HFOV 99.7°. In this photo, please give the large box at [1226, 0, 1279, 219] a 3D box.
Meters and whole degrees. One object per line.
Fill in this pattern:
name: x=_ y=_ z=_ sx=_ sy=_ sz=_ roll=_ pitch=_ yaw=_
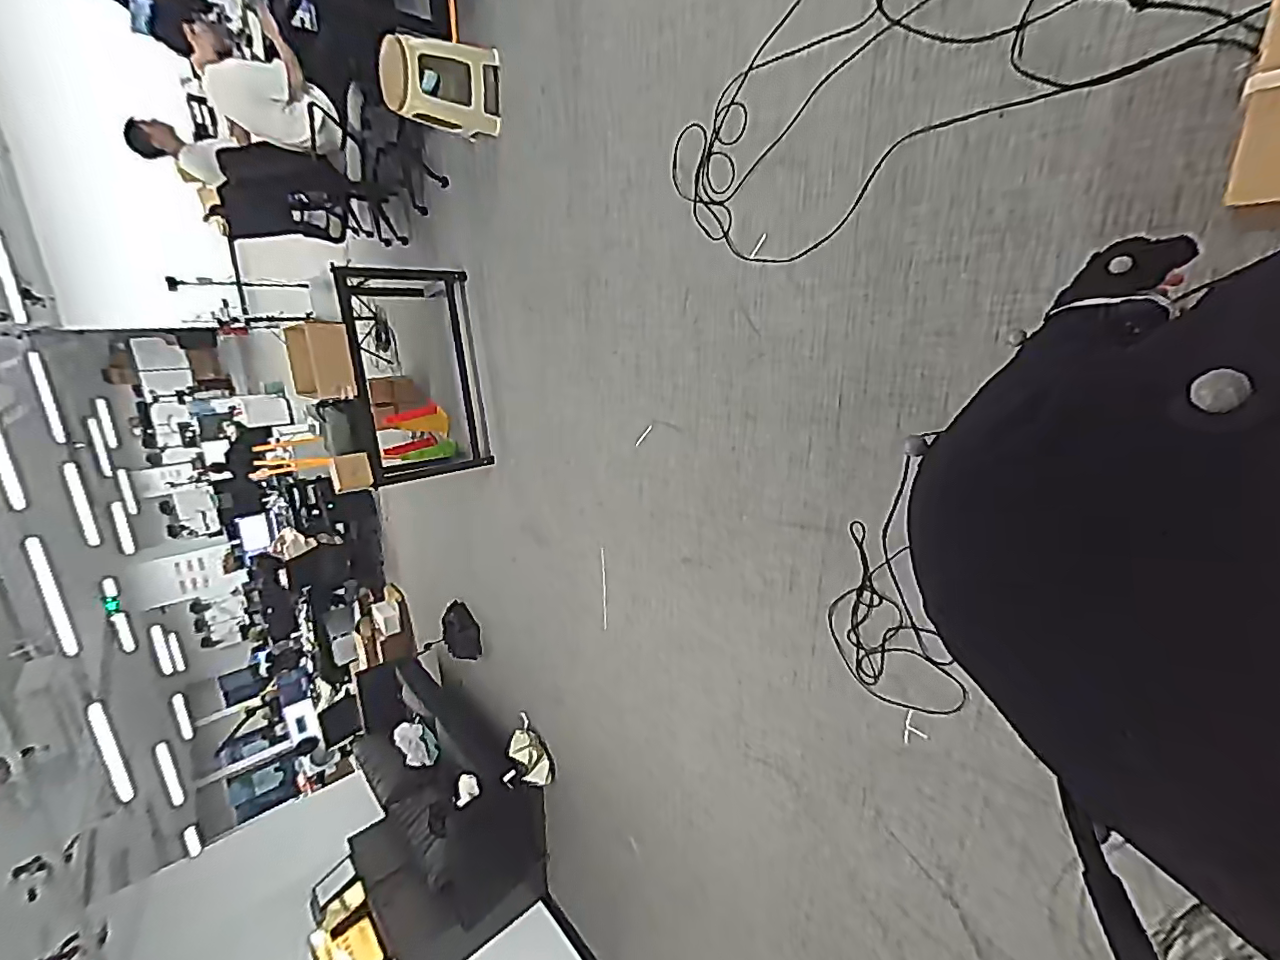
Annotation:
large box: x=1.086 y=-0.555 z=0.705 sx=0.408 sy=0.320 sz=0.320 roll=15 pitch=114 yaw=44
